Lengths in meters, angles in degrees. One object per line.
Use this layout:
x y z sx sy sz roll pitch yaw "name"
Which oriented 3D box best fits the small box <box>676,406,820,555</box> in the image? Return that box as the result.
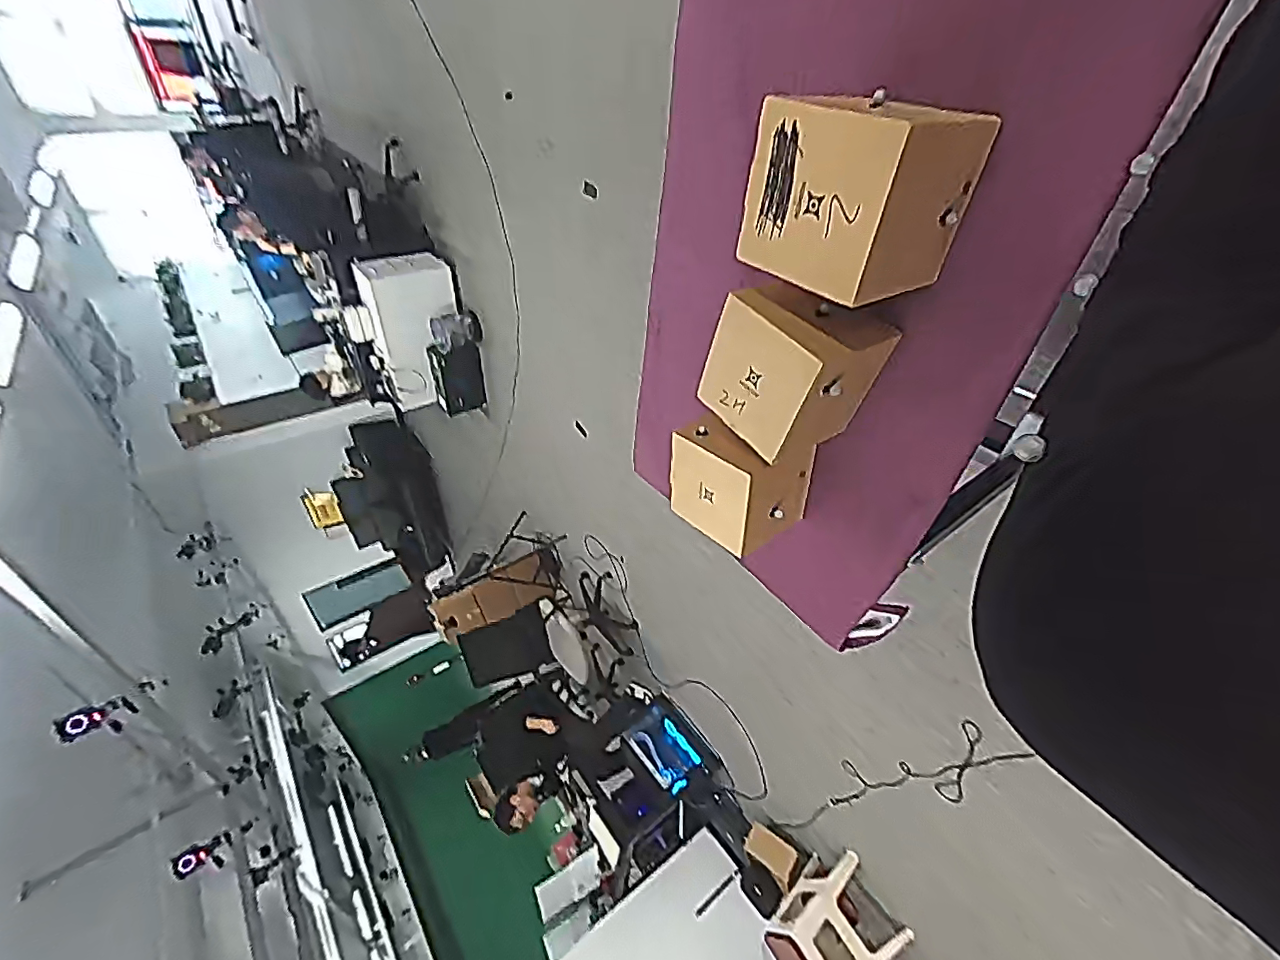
0.180 -0.009 0.922 0.179 0.176 0.168 35 138 42 "small box"
